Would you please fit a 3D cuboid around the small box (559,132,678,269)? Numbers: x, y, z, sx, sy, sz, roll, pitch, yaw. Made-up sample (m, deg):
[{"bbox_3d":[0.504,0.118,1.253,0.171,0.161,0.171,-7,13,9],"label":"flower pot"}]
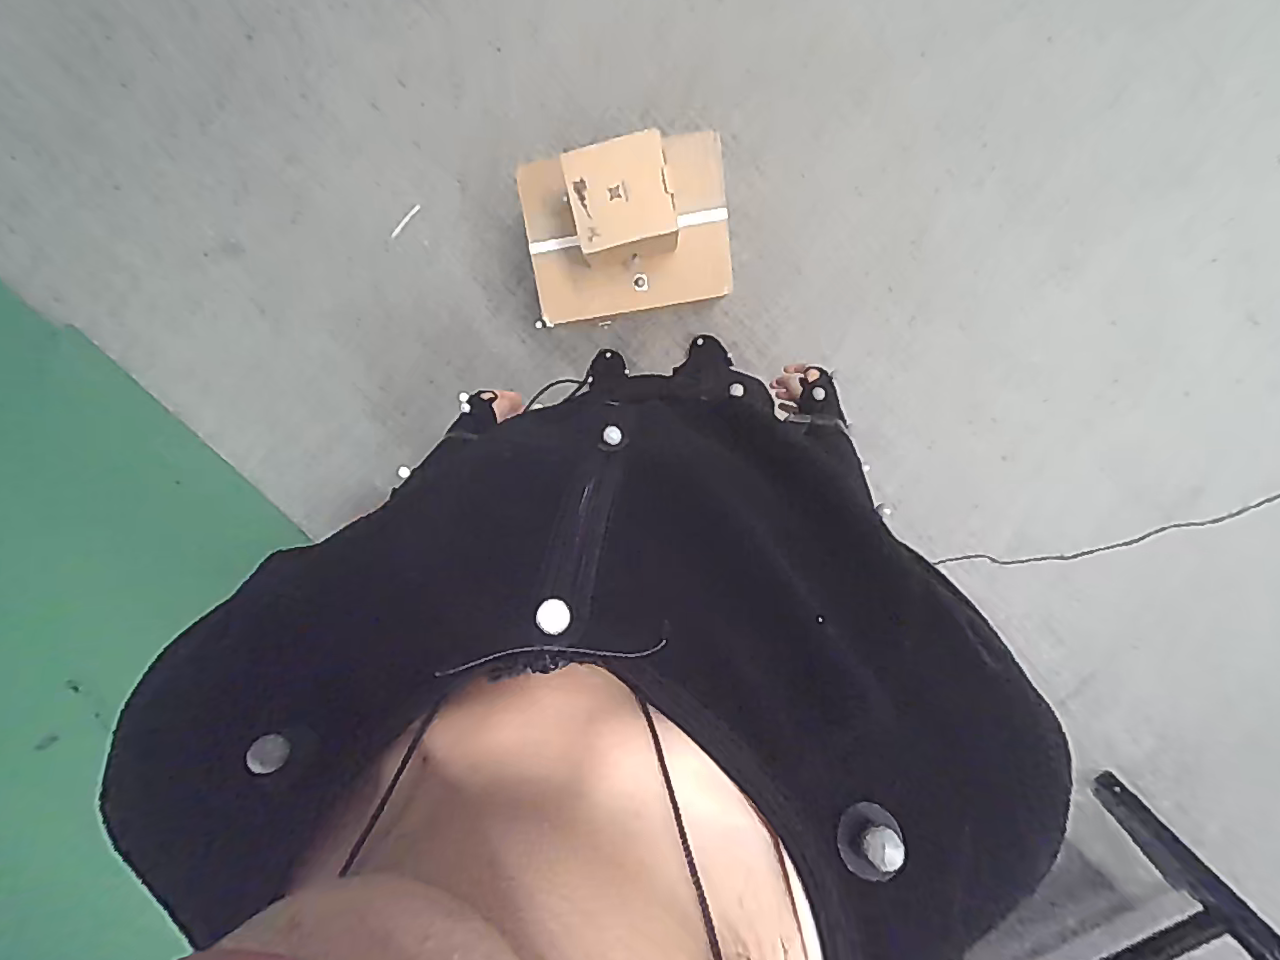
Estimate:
[{"bbox_3d":[-0.035,-0.500,0.992,0.179,0.176,0.168,-12,102,4],"label":"small box"}]
